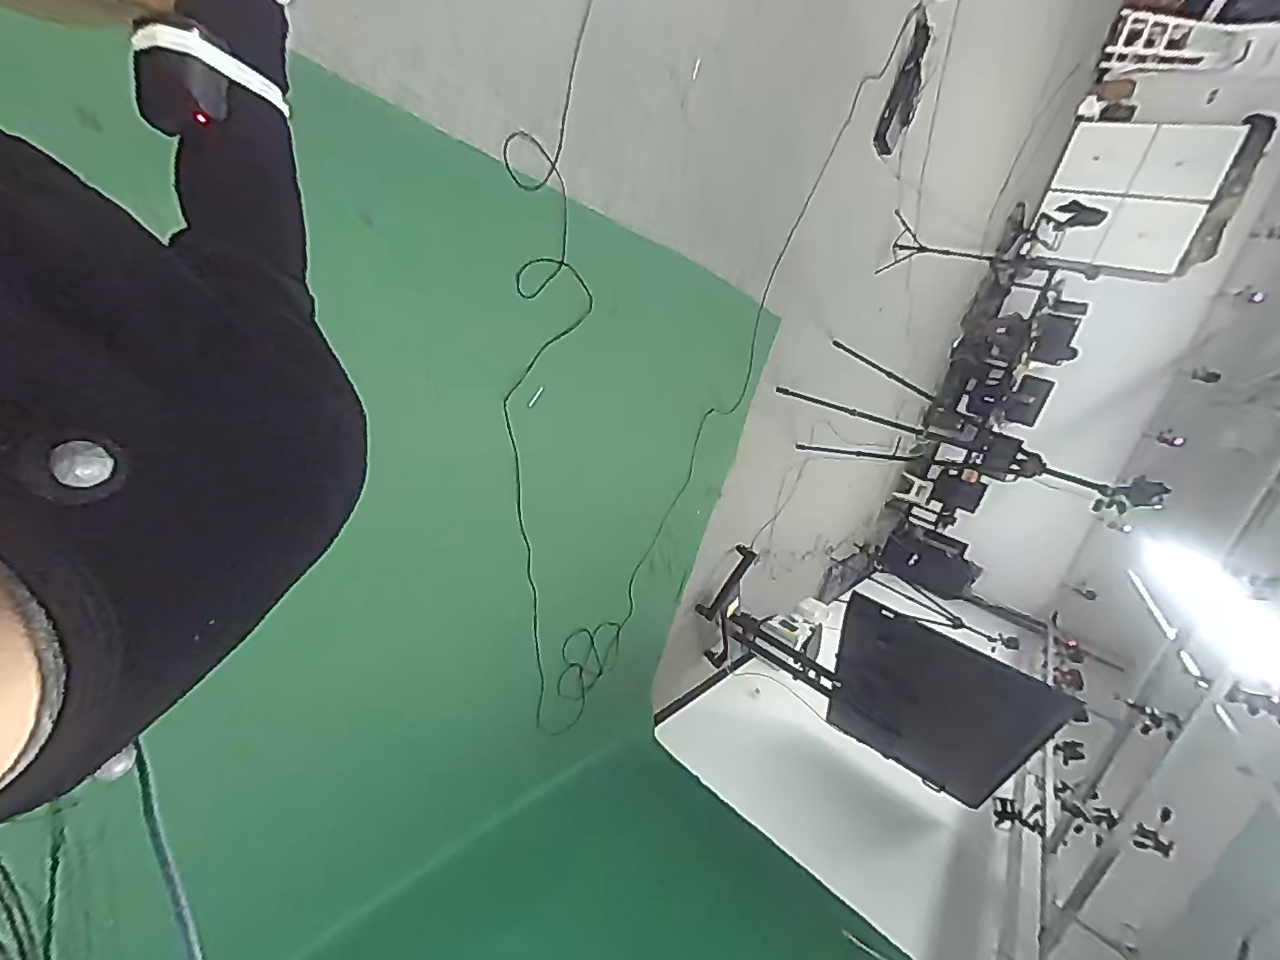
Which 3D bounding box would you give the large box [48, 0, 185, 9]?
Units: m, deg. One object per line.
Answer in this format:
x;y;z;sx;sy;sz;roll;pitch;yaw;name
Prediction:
-0.550;-0.515;0.274;0.408;0.320;0.320;-20;130;-52;large box
